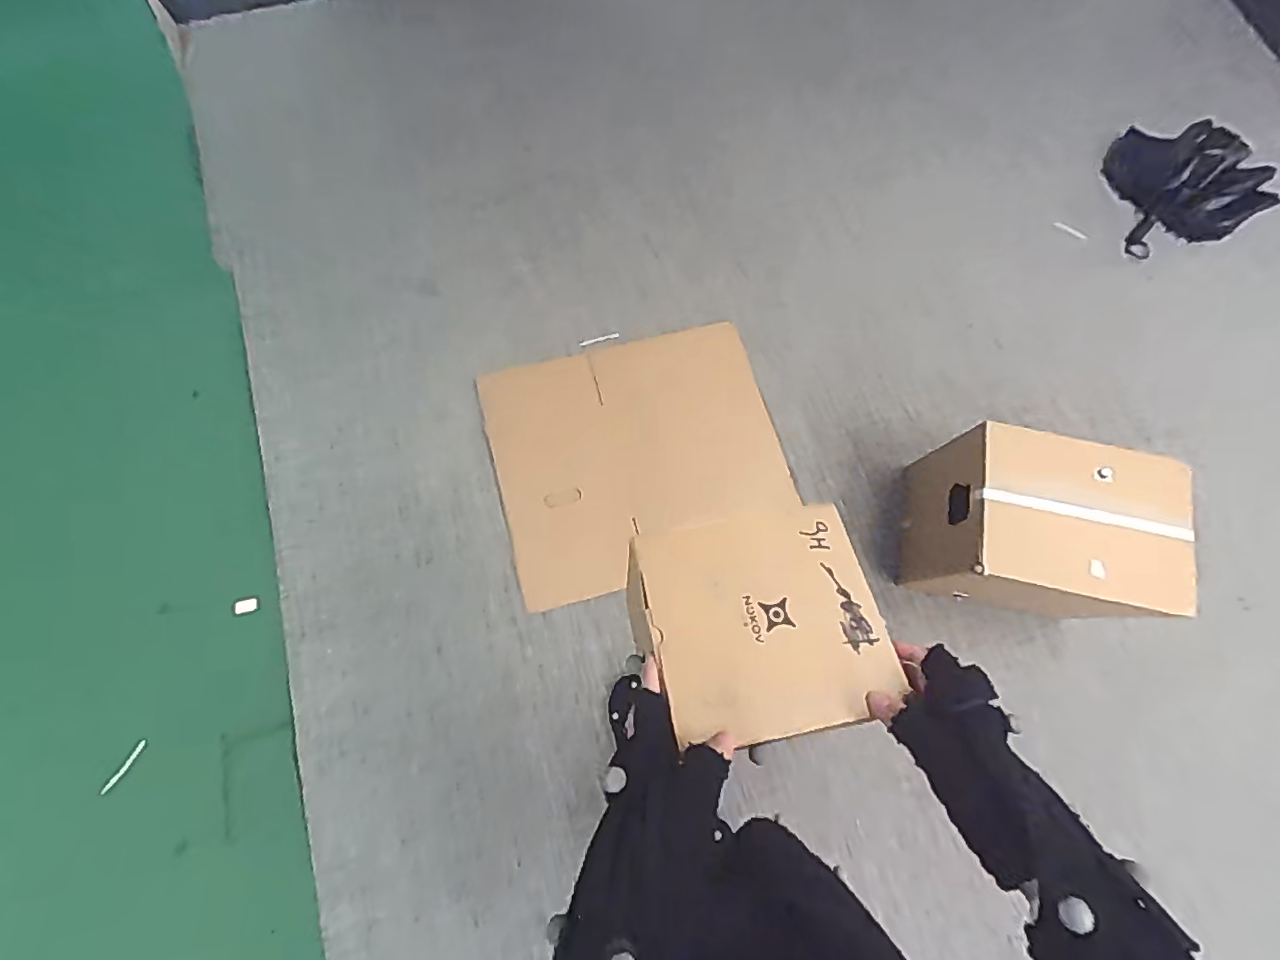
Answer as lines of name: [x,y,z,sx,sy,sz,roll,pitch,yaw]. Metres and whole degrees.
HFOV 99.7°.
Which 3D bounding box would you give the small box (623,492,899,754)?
small box: [0.086,0.135,0.489,0.179,0.176,0.168,-11,60,-9]
